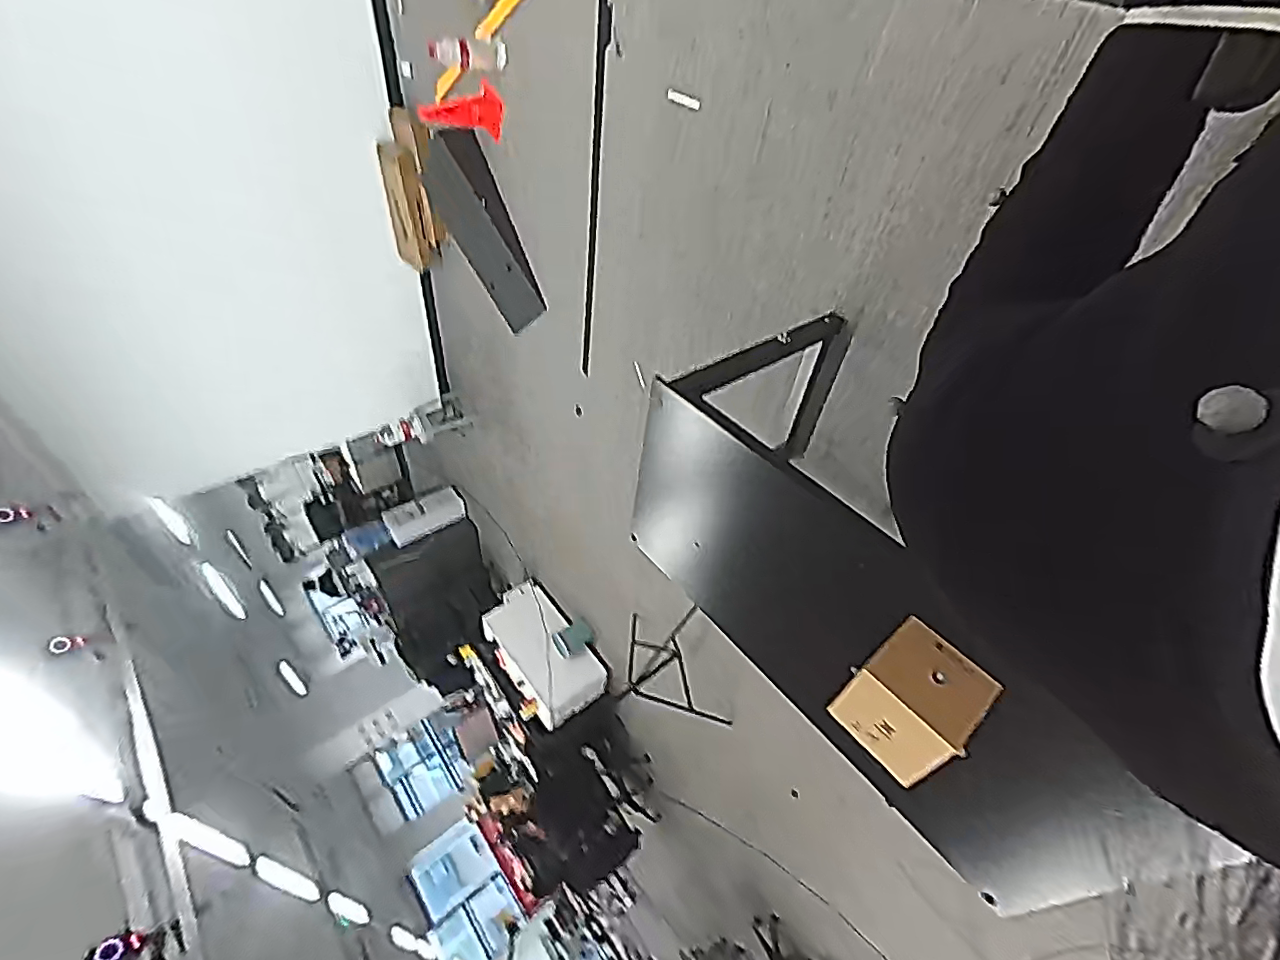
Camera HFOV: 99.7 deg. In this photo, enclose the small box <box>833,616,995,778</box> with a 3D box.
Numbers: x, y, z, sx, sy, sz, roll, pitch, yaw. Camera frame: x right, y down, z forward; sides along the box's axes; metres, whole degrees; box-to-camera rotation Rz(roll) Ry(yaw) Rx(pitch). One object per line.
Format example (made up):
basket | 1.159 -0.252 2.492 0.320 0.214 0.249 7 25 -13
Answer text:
small box | 0.480 0.373 0.947 0.168 0.176 0.179 43 145 30
